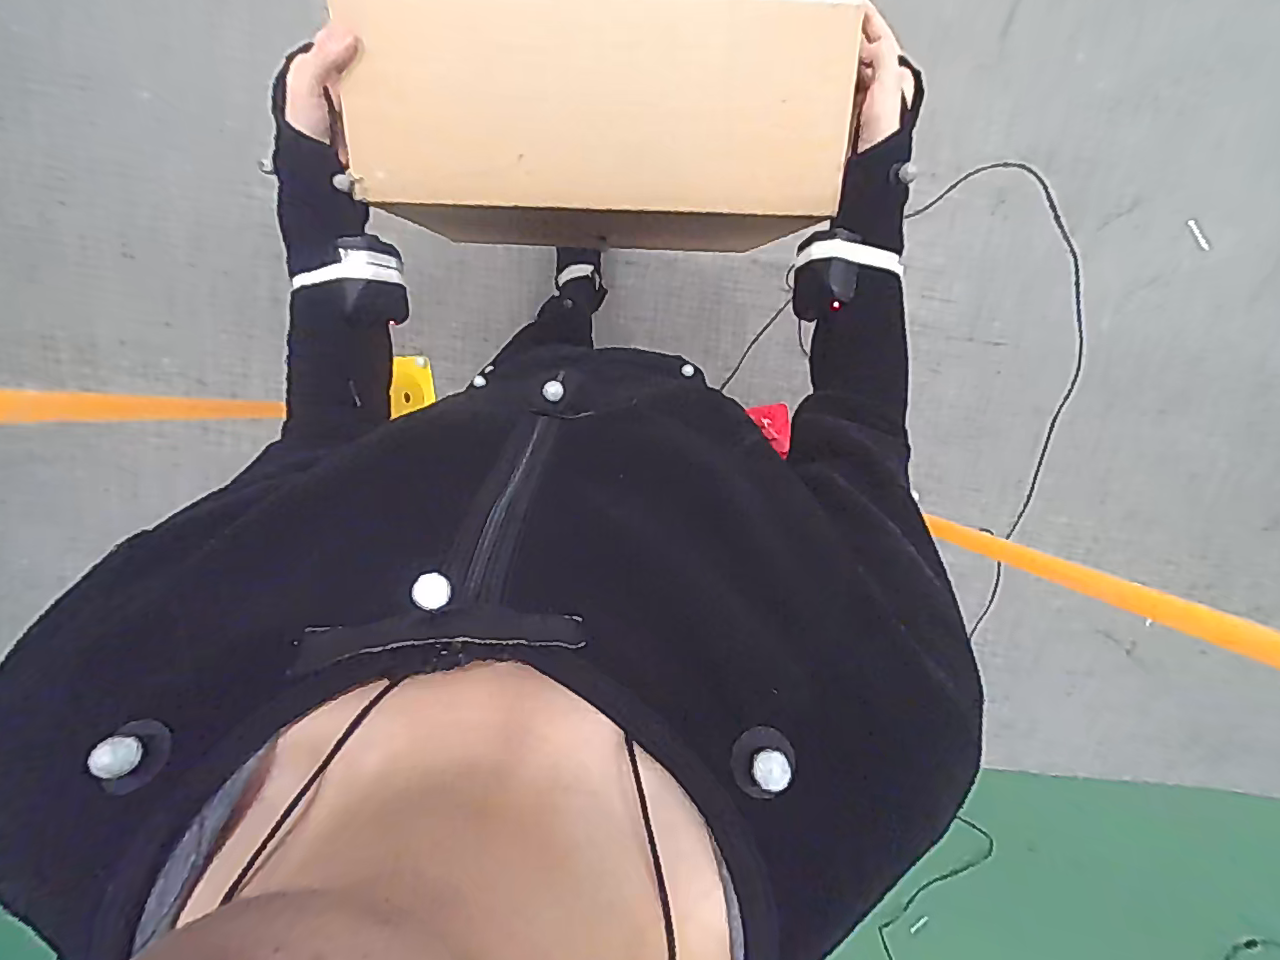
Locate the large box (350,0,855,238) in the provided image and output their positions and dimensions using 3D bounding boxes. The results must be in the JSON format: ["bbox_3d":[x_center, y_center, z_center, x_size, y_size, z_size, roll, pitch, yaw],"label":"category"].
[{"bbox_3d":[-0.031,-0.433,0.561,0.408,0.320,0.320,0,107,-3],"label":"large box"}]
